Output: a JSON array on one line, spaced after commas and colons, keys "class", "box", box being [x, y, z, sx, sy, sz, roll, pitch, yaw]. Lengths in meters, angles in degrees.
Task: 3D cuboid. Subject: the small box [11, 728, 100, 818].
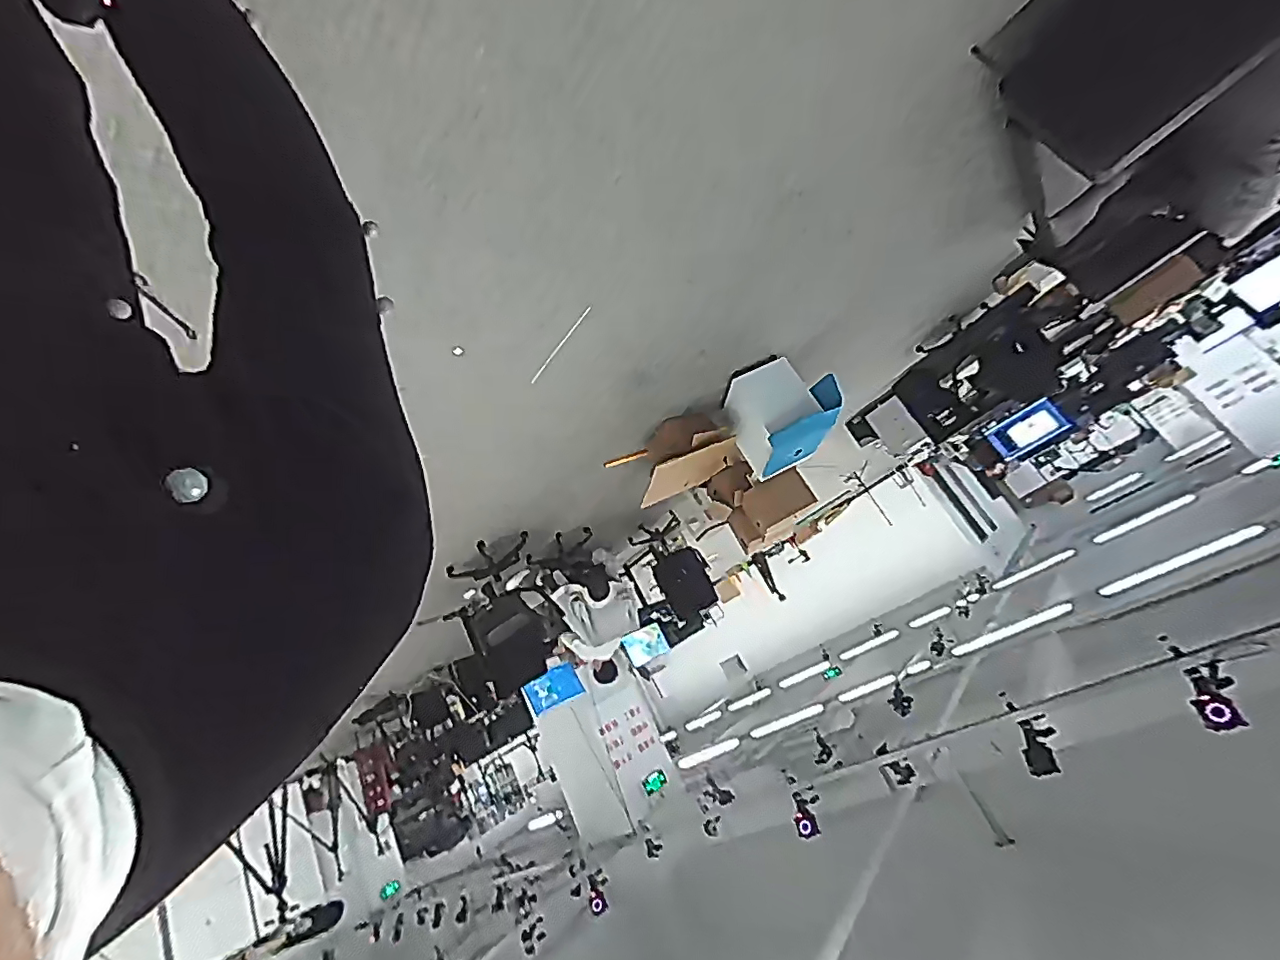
[{"class": "small box", "box": [-1.754, 0.874, 1.627, 0.168, 0.176, 0.179, -7, 153, -47]}]
